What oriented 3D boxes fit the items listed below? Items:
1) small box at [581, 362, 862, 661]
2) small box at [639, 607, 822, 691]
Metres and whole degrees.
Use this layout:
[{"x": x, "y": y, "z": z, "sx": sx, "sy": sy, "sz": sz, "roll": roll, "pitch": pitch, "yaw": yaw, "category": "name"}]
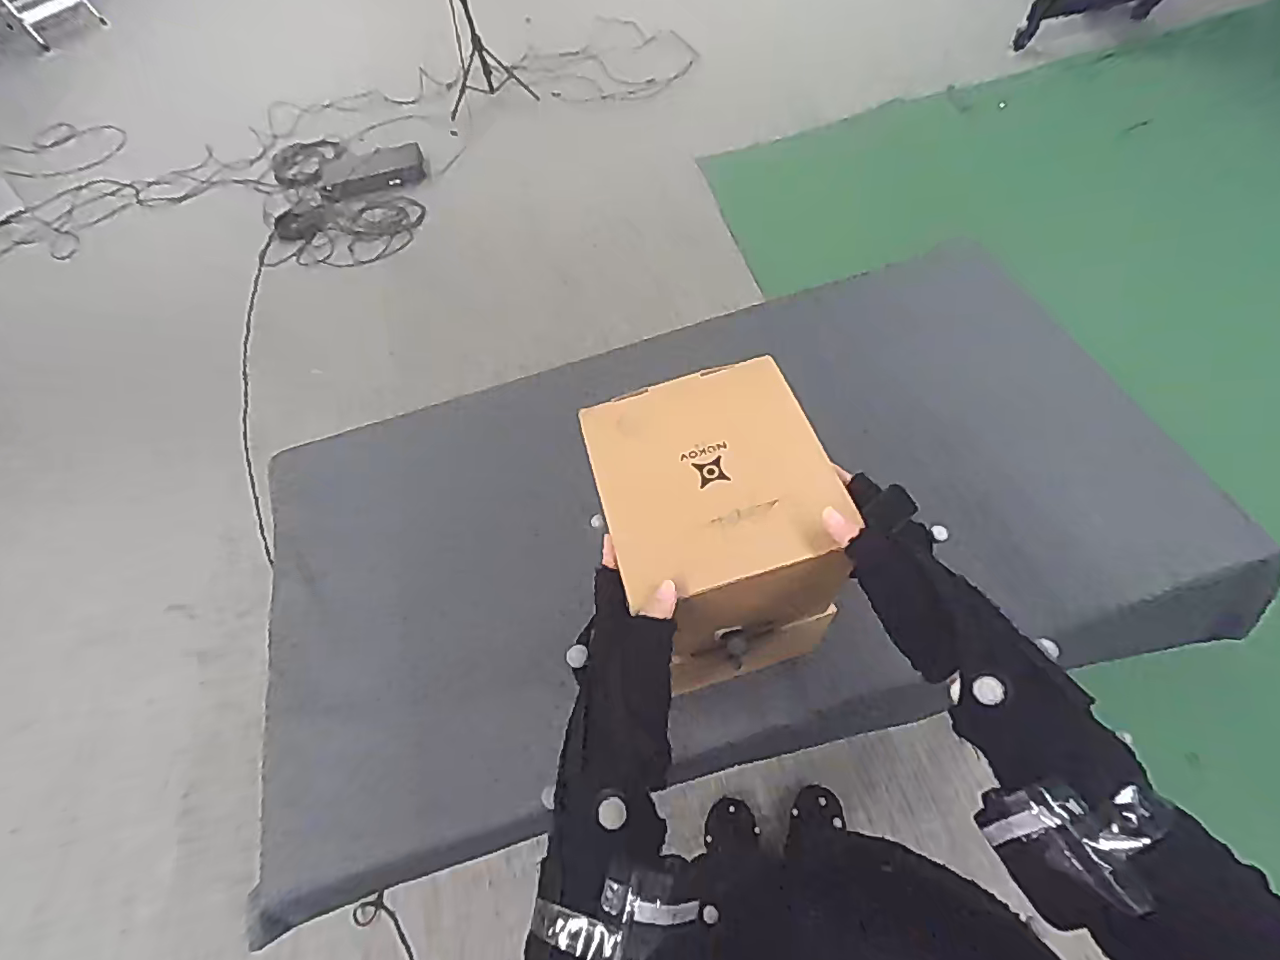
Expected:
[{"x": 0.057, "y": 0.034, "z": 0.465, "sx": 0.168, "sy": 0.176, "sz": 0.179, "roll": -16, "pitch": 59, "yaw": -2, "category": "small box"}, {"x": 0.081, "y": 0.129, "z": 0.620, "sx": 0.179, "sy": 0.176, "sz": 0.168, "roll": -17, "pitch": 61, "yaw": -3, "category": "small box"}]
